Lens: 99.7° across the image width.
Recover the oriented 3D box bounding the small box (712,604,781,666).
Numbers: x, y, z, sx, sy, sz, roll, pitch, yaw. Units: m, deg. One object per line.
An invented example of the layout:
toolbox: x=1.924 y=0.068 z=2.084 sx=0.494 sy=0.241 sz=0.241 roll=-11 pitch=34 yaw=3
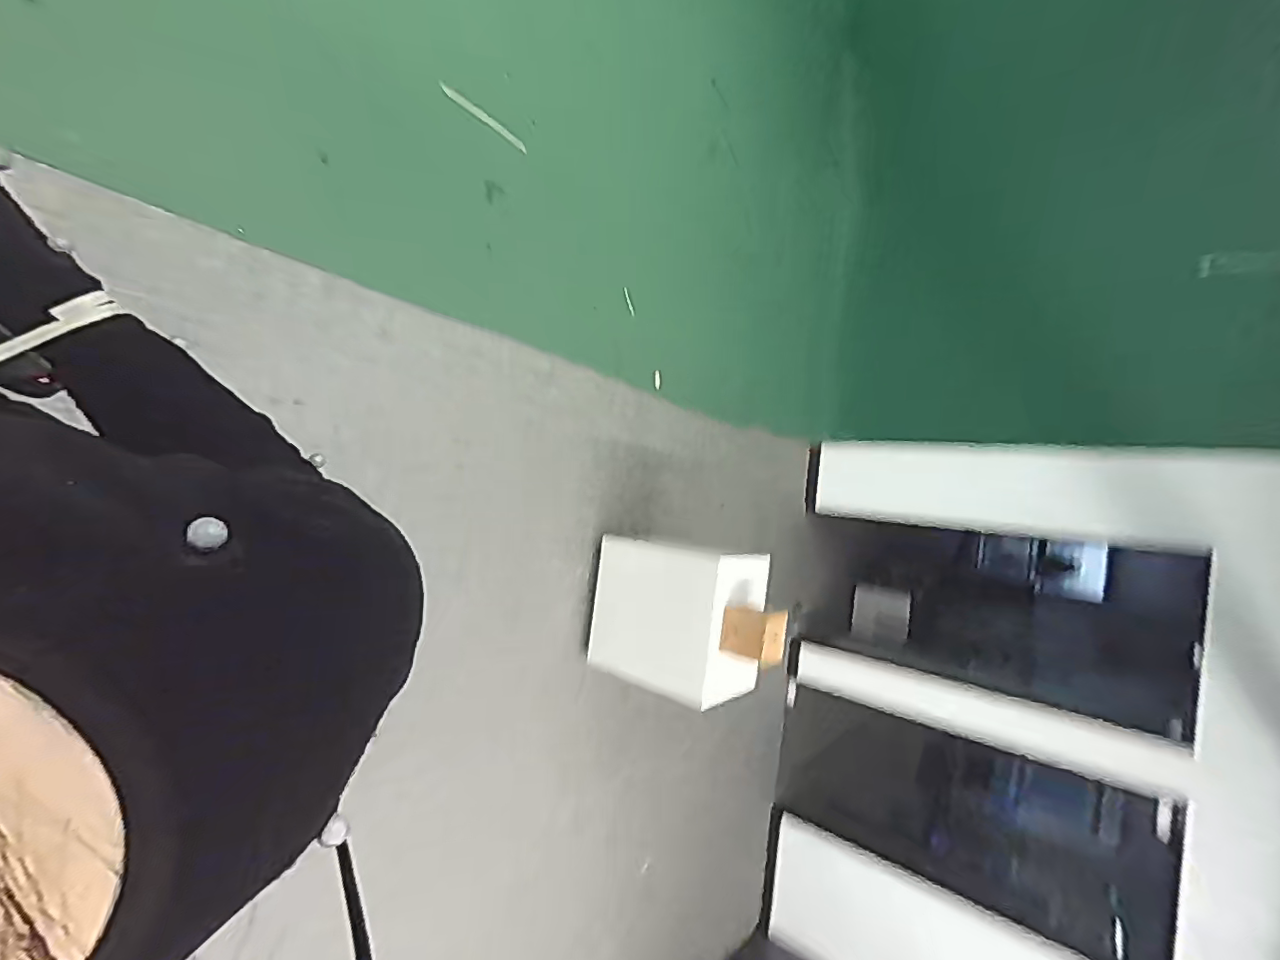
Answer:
small box: x=0.377 y=0.540 z=1.910 sx=0.179 sy=0.176 sz=0.168 roll=10 pitch=86 yaw=-52
